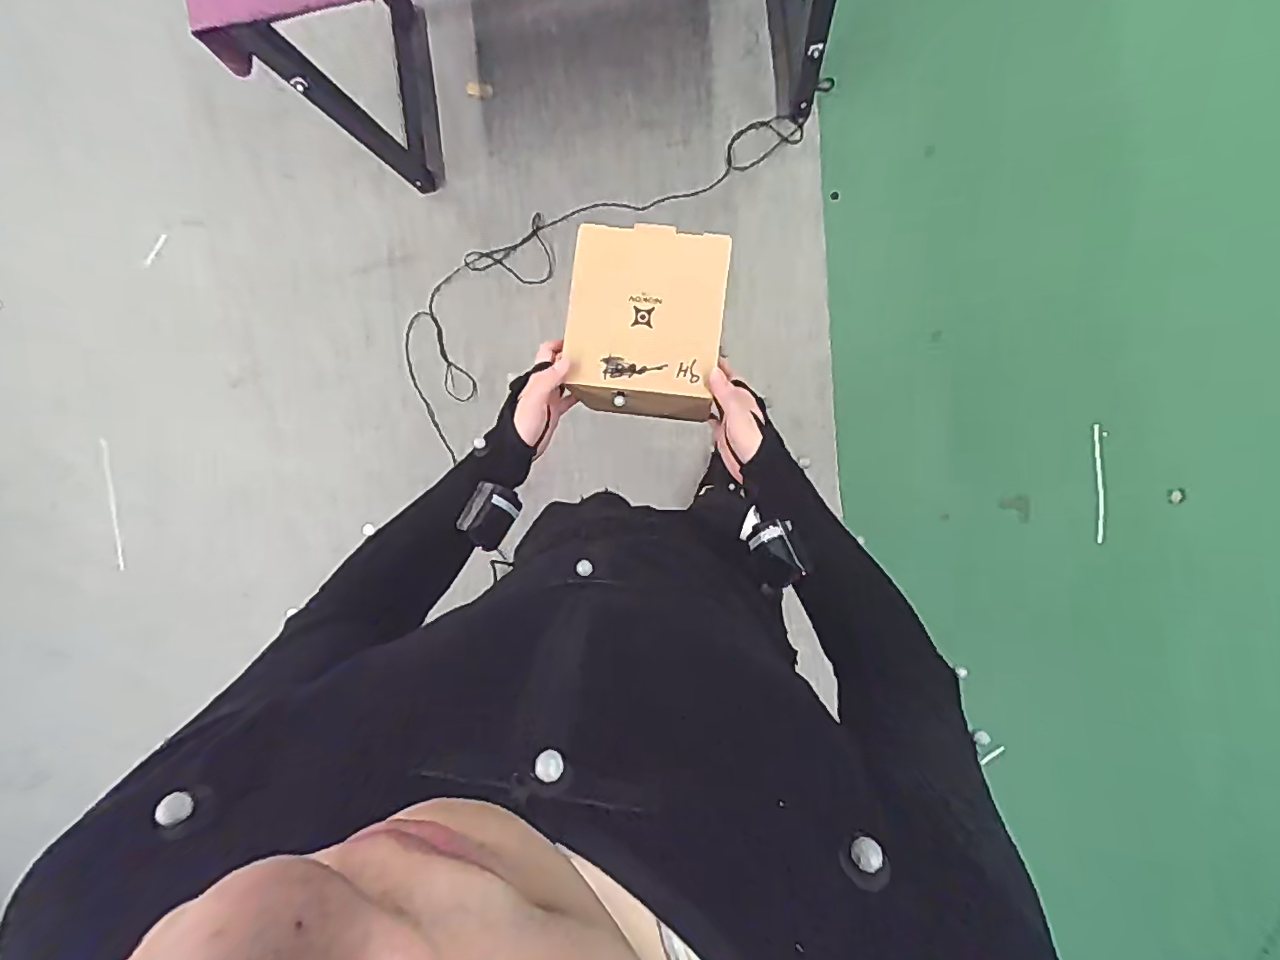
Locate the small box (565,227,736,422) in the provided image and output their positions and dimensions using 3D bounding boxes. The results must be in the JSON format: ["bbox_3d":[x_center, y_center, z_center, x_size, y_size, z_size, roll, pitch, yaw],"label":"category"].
[{"bbox_3d":[0.015,-0.175,0.654,0.168,0.176,0.179,7,90,5],"label":"small box"}]
